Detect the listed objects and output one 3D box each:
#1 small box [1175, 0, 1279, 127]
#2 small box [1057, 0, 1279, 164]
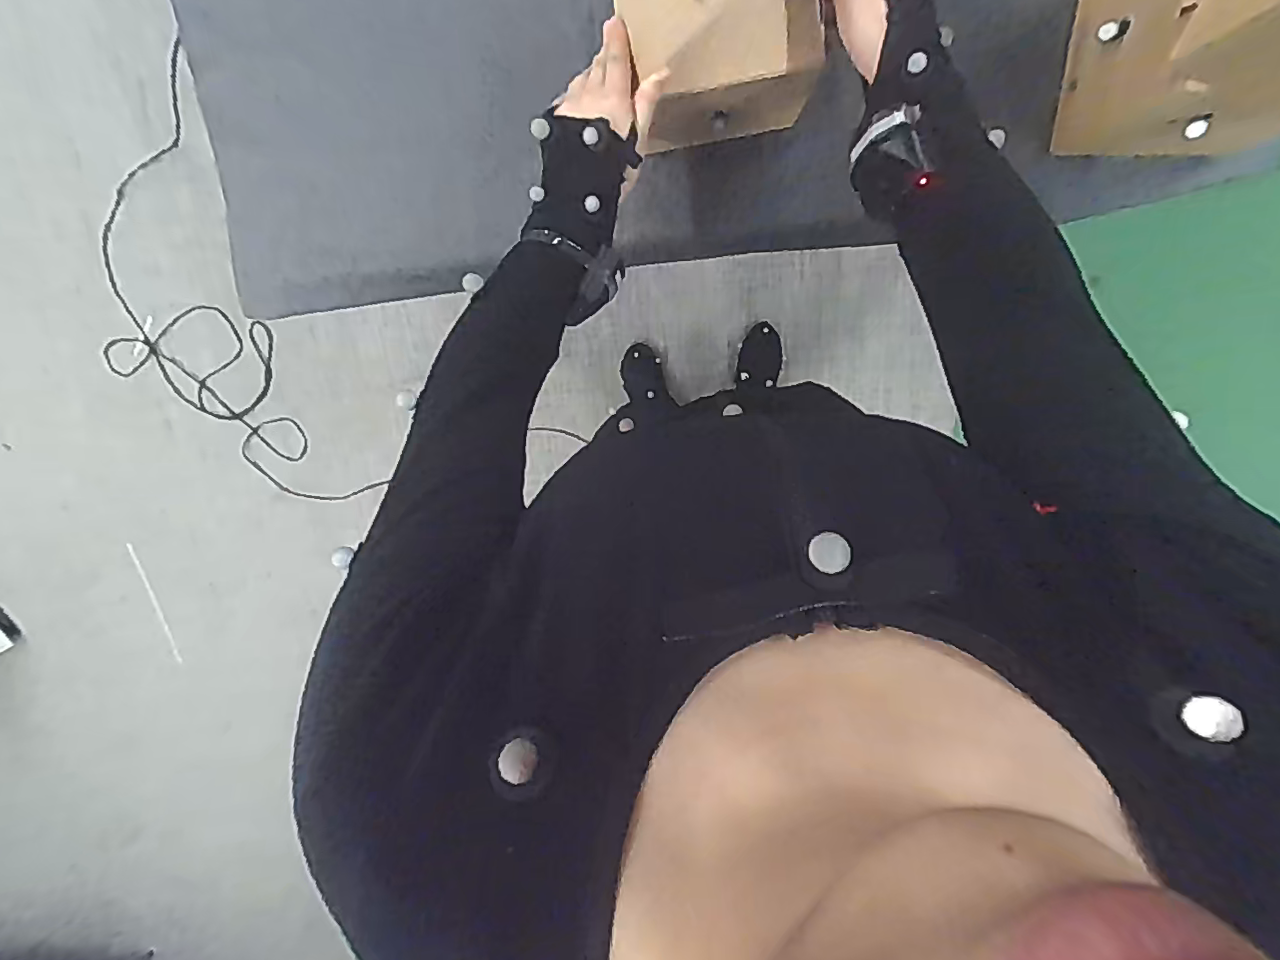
[{"bbox_3d":[0.518,-0.342,0.337,0.179,0.176,0.168,23,106,-1],"label":"small box"},{"bbox_3d":[0.529,-0.401,0.489,0.179,0.176,0.168,2,105,6],"label":"small box"}]
